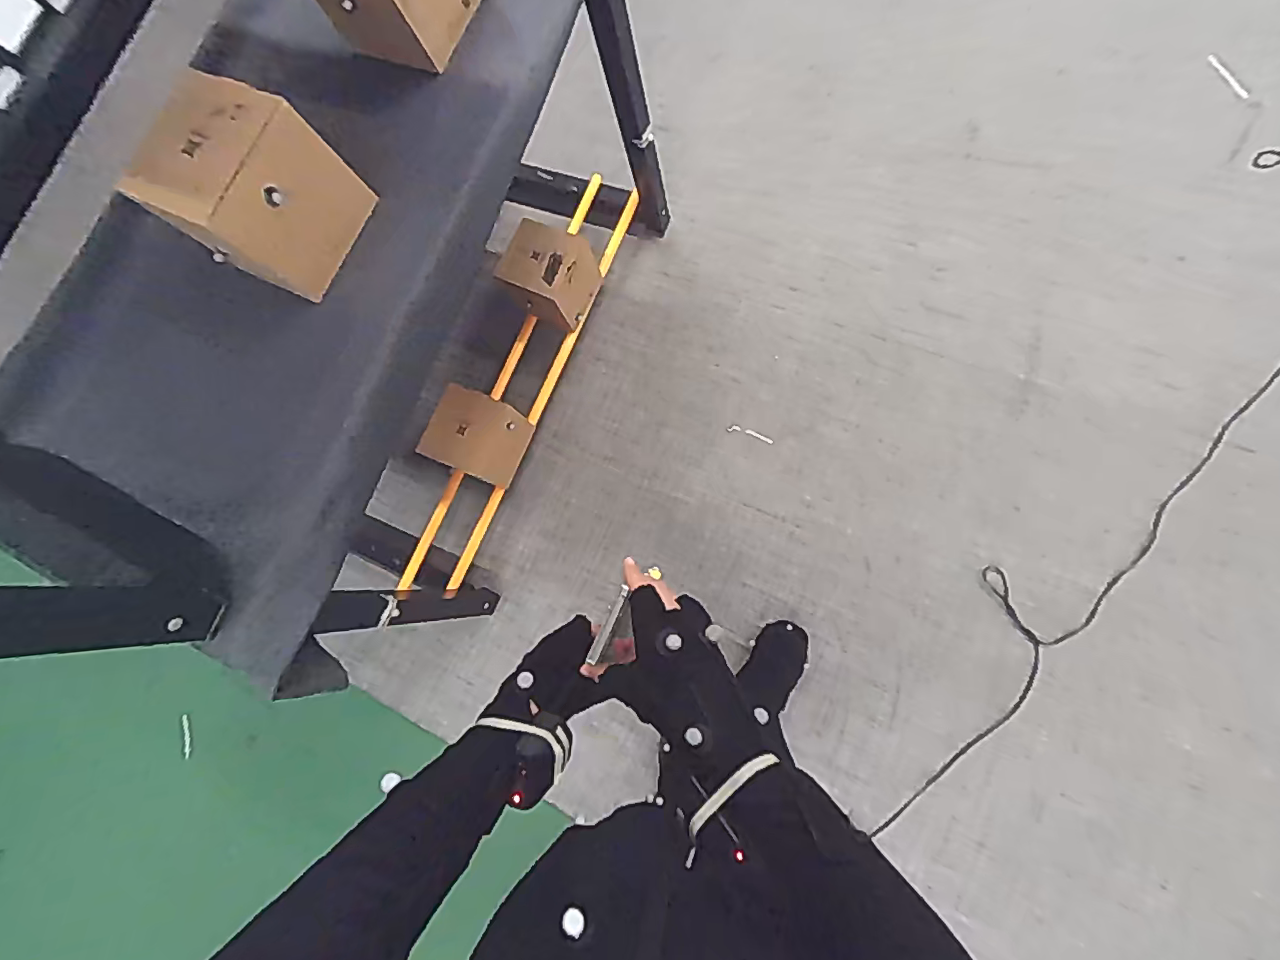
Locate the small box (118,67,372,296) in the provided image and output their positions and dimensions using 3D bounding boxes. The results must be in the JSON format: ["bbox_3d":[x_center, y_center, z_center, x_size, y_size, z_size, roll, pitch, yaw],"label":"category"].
[{"bbox_3d":[-0.488,-0.369,0.695,0.168,0.176,0.179,25,84,15],"label":"small box"}]

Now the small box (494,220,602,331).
[{"bbox_3d":[-0.214,-0.487,1.314,0.179,0.176,0.168,25,84,15],"label":"small box"}]
